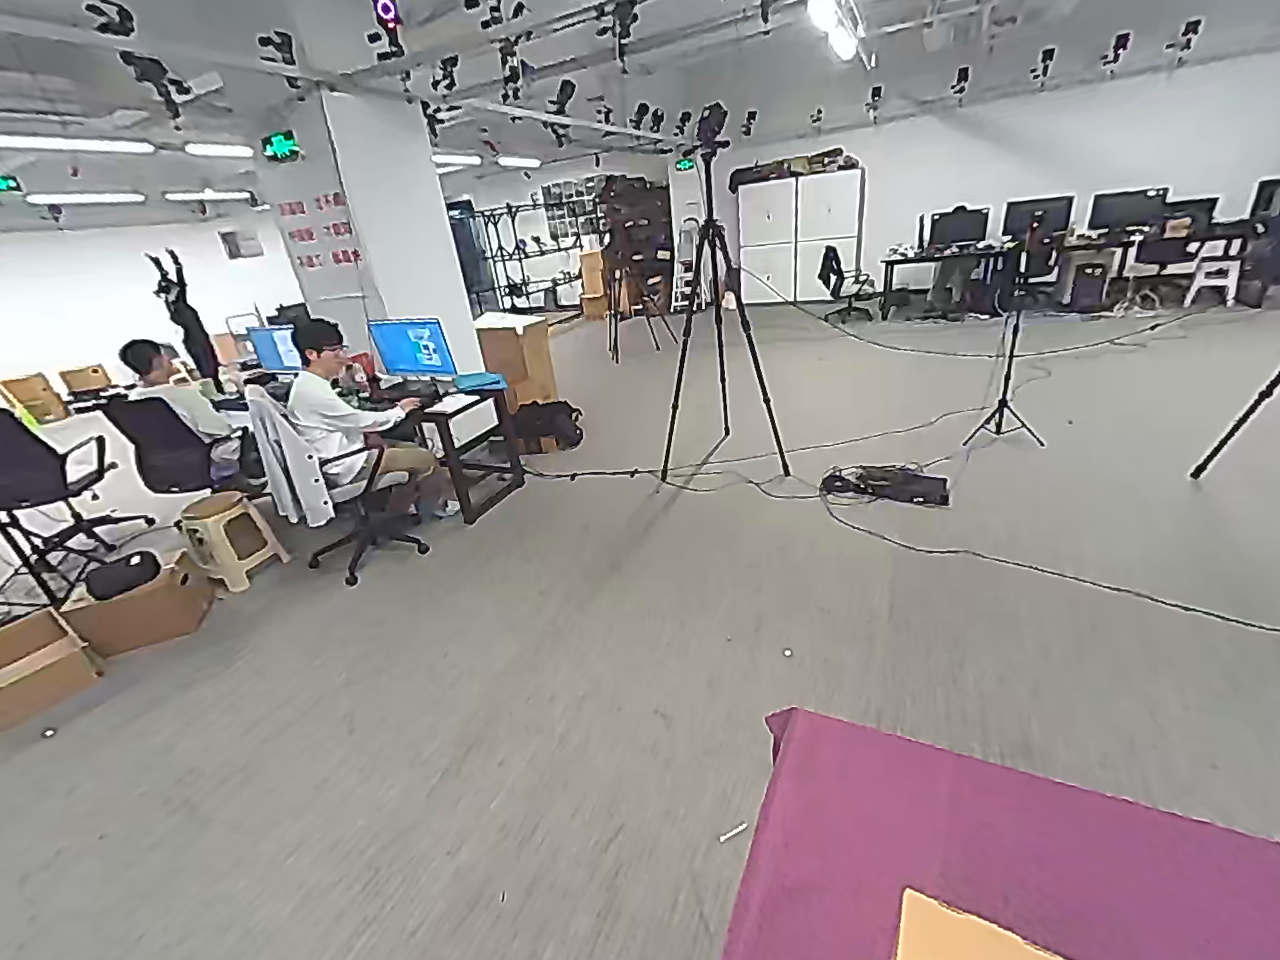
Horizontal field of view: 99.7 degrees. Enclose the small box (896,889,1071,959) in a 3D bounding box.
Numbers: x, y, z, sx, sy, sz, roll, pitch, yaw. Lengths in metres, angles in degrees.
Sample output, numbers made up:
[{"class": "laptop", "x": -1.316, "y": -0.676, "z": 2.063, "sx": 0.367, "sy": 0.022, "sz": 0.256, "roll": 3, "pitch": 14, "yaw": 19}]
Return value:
[{"class": "small box", "x": 0.324, "y": 0.555, "z": 0.508, "sx": 0.168, "sy": 0.176, "sz": 0.179, "roll": 7, "pitch": 29, "yaw": 30}]
